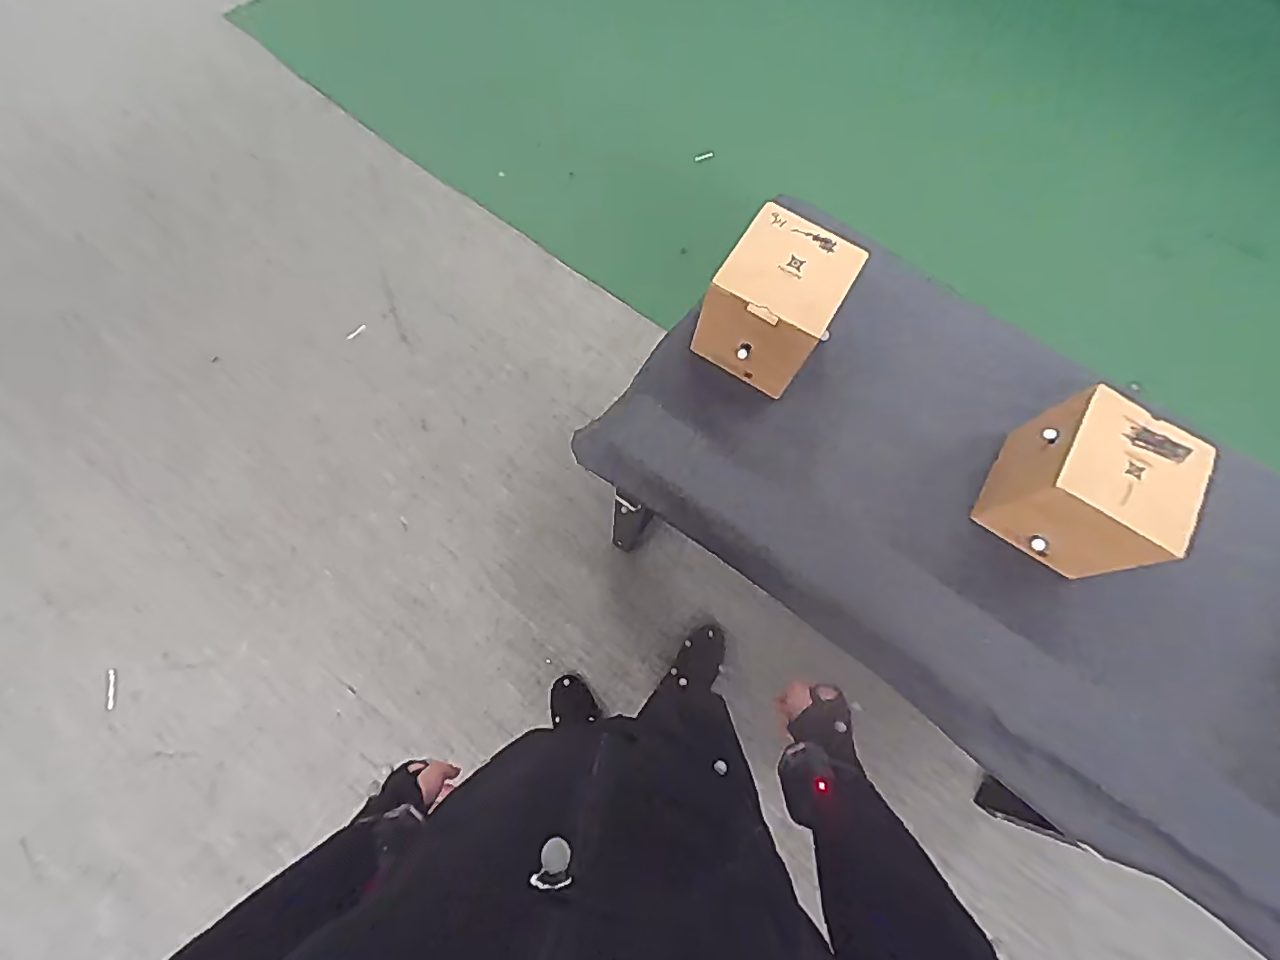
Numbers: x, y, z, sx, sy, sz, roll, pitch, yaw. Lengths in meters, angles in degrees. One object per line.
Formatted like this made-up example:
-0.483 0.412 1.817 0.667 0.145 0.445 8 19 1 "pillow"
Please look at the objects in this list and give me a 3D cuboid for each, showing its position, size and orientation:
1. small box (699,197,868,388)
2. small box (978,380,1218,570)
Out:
0.201 -0.269 0.811 0.168 0.176 0.179 31 73 6 "small box"
0.616 0.003 0.749 0.168 0.176 0.179 33 74 7 "small box"
